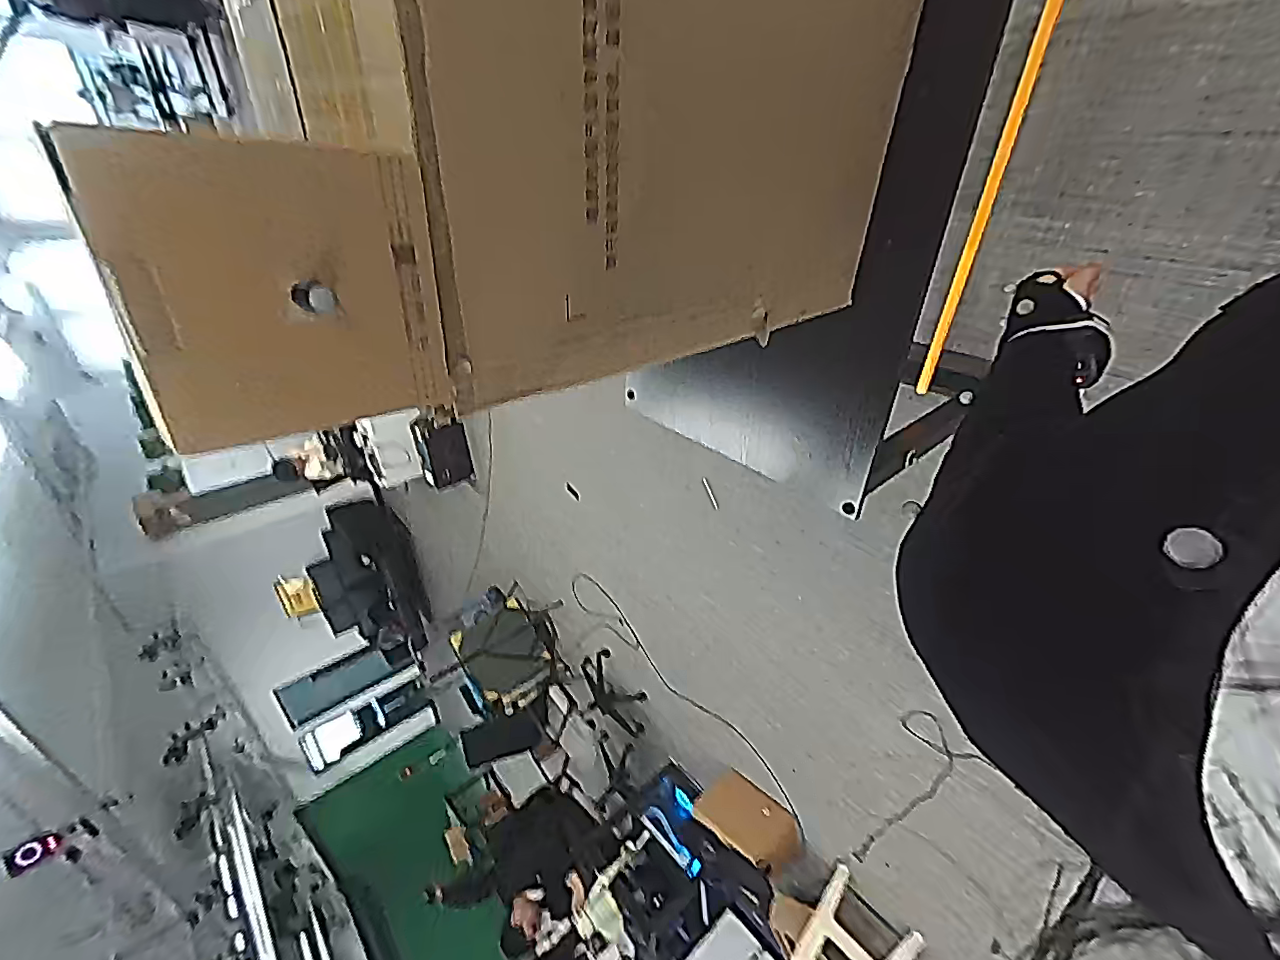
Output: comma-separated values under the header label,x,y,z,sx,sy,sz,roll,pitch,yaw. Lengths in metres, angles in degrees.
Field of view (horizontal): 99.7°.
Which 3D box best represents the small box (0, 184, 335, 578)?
label,x,y,z,sx,sy,sz,roll,pitch,yaw
small box,-0.302,-0.078,0.316,0.179,0.176,0.168,25,125,39
